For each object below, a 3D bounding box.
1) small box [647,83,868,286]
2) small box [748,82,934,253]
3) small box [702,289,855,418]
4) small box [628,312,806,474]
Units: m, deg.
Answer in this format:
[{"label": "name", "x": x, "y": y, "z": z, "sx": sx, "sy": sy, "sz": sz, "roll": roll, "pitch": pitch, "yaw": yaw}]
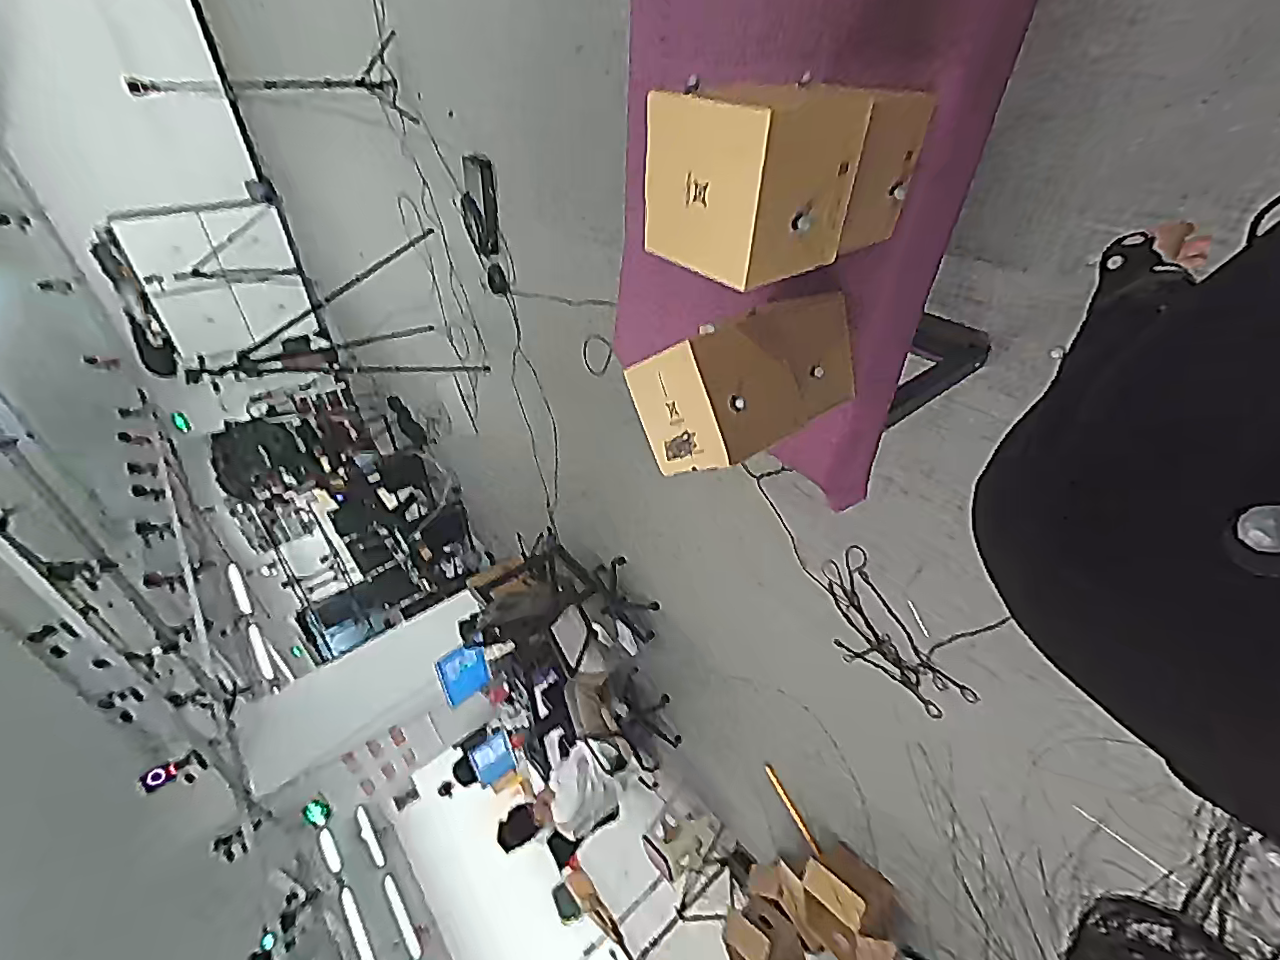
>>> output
[{"label": "small box", "x": 0.127, "y": -0.345, "z": 0.619, "sx": 0.179, "sy": 0.176, "sz": 0.168, "roll": 39, "pitch": 143, "yaw": 37}, {"label": "small box", "x": 0.241, "y": -0.416, "z": 0.711, "sx": 0.179, "sy": 0.176, "sz": 0.168, "roll": 38, "pitch": 143, "yaw": 35}, {"label": "small box", "x": 0.232, "y": -0.198, "z": 0.888, "sx": 0.168, "sy": 0.176, "sz": 0.179, "roll": 11, "pitch": 123, "yaw": 53}, {"label": "small box", "x": 0.116, "y": -0.124, "z": 0.797, "sx": 0.168, "sy": 0.176, "sz": 0.179, "roll": -8, "pitch": 105, "yaw": 58}]
